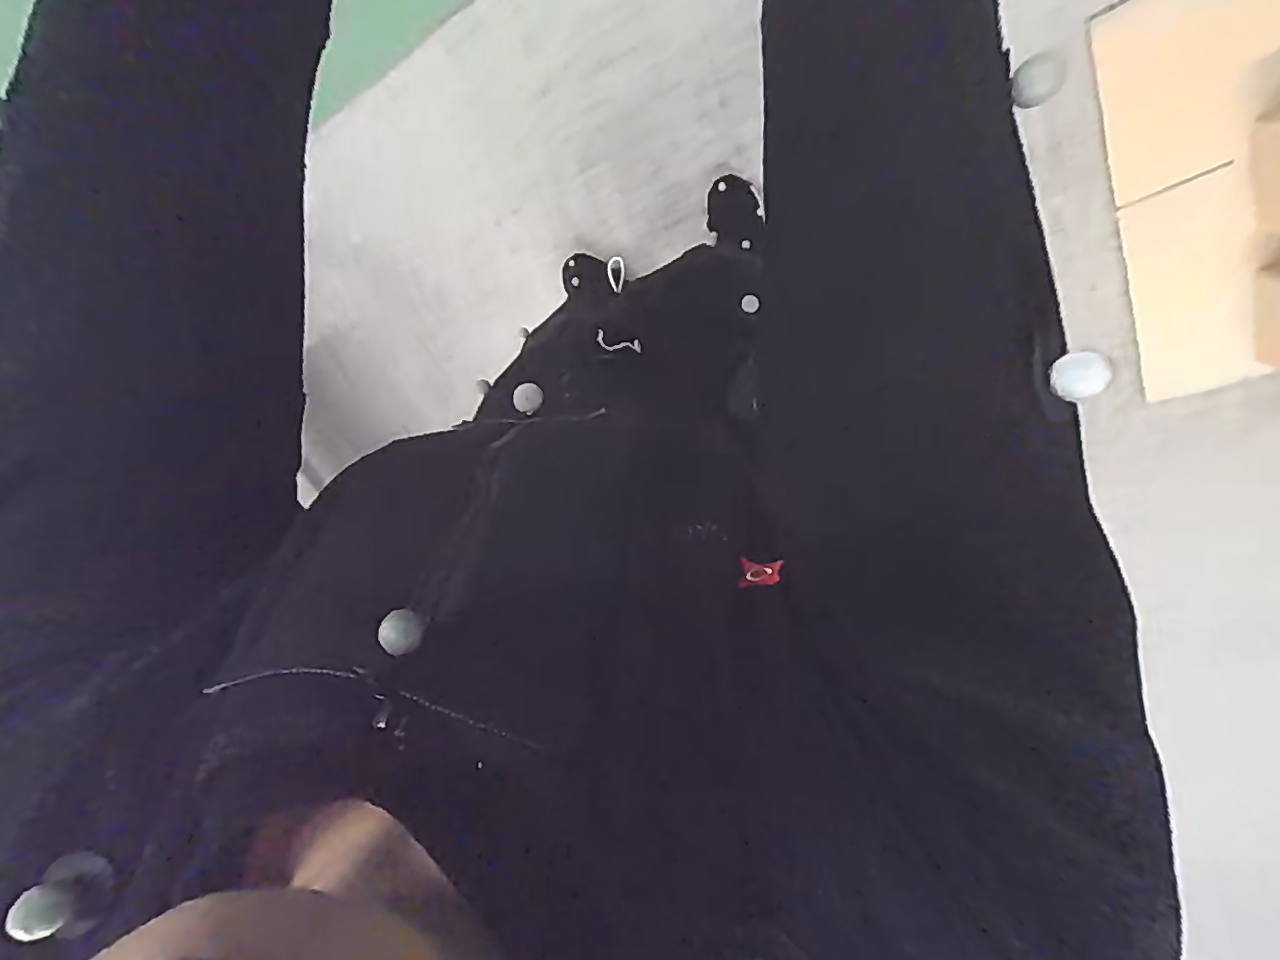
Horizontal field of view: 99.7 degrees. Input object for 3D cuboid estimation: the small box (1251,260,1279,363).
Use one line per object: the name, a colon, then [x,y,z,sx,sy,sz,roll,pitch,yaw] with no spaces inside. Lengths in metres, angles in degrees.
small box: [1.150,-0.282,0.872,0.168,0.176,0.179,-17,114,24]
